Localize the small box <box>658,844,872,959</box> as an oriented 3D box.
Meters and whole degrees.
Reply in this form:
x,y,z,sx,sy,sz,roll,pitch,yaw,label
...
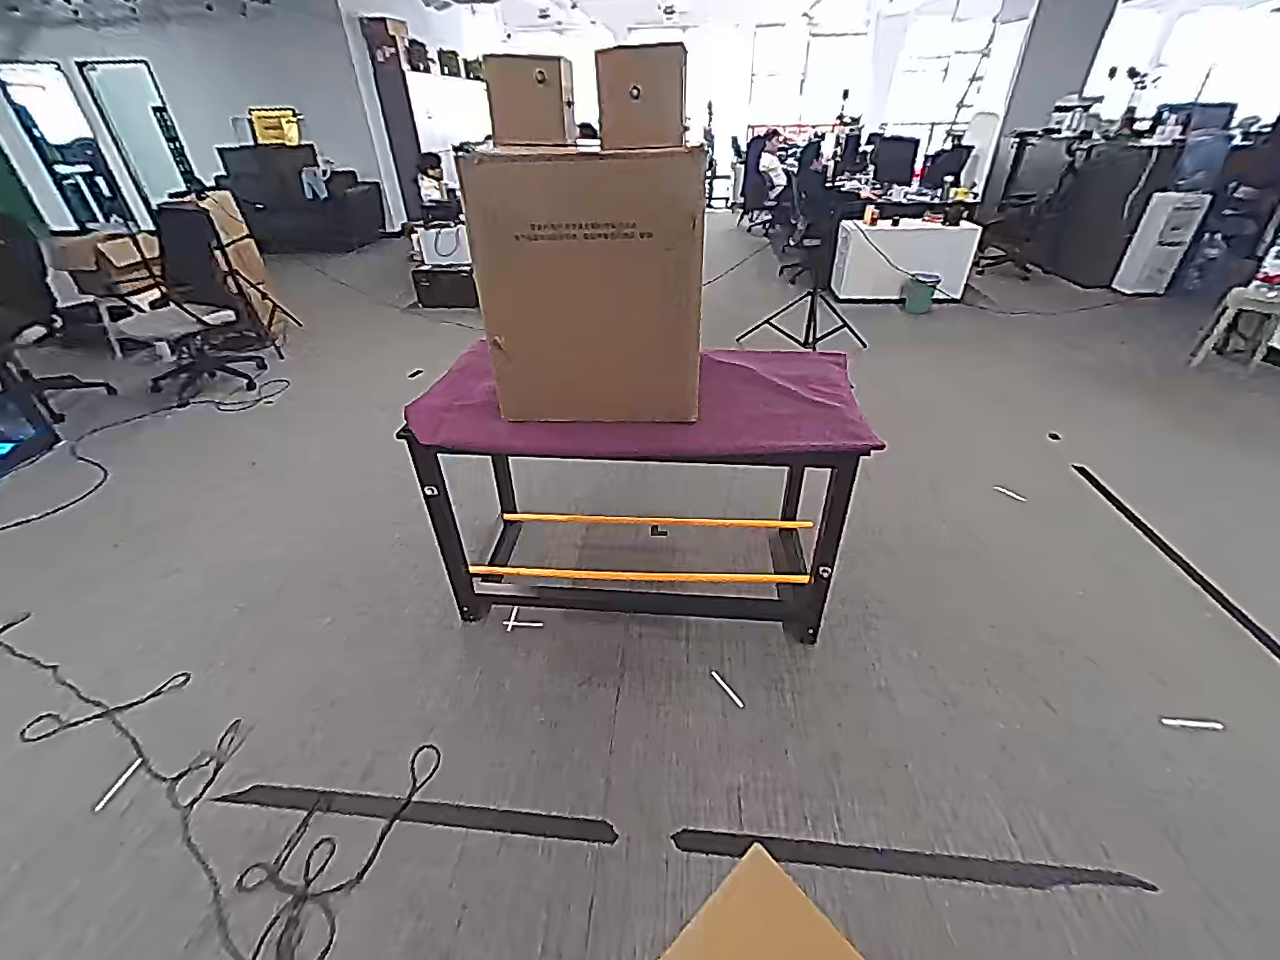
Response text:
x,y,z,sx,sy,sz,roll,pitch,yaw,label
0.083,0.367,0.308,0.168,0.176,0.179,-35,46,-25,small box
